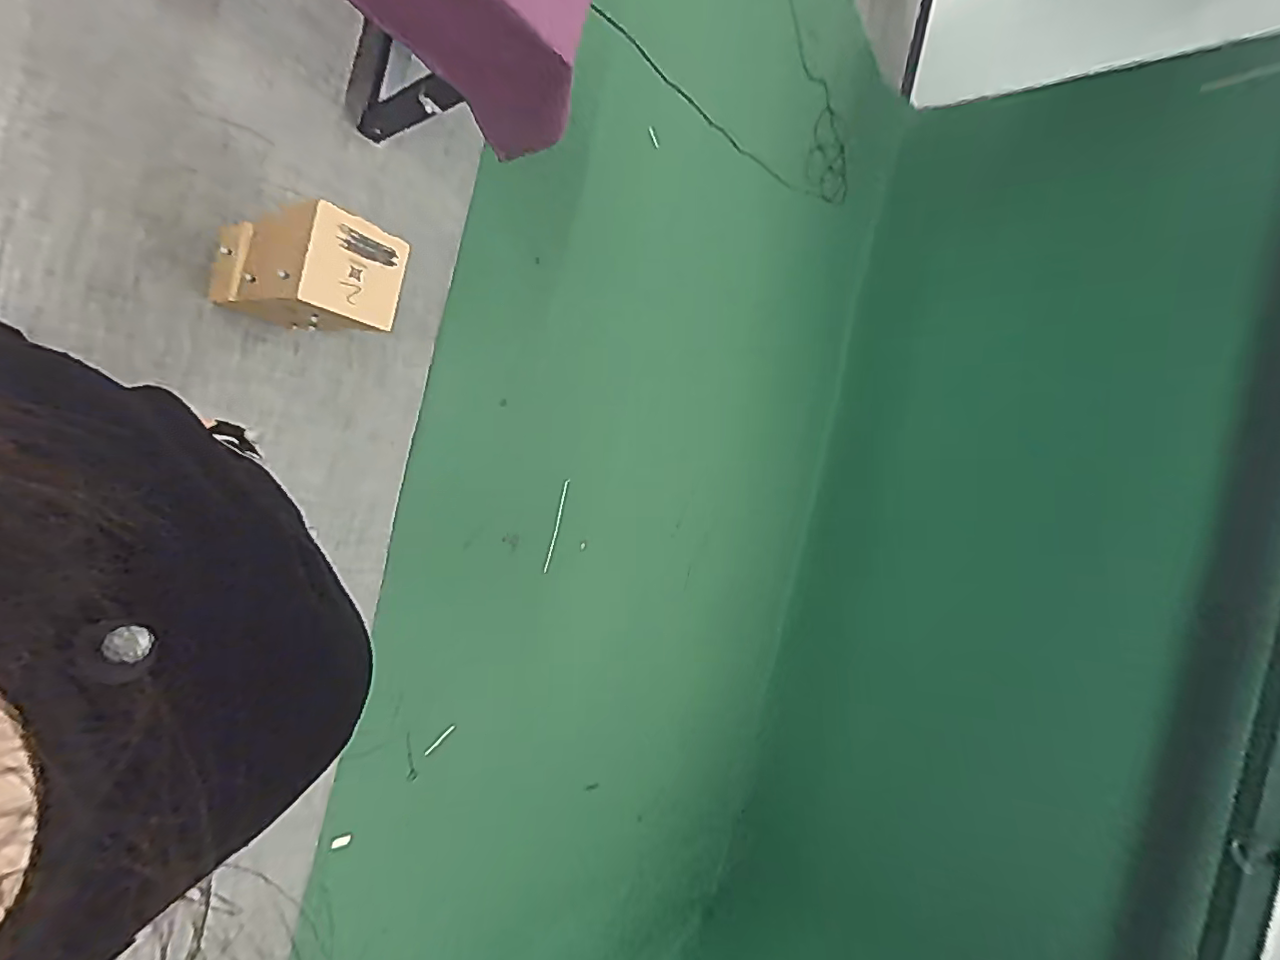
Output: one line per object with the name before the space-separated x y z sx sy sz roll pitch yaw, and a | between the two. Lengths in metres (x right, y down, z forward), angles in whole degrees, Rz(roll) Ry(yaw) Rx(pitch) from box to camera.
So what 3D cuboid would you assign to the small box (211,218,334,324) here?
small box | -0.826 -0.455 1.210 0.179 0.176 0.168 10 93 -52
